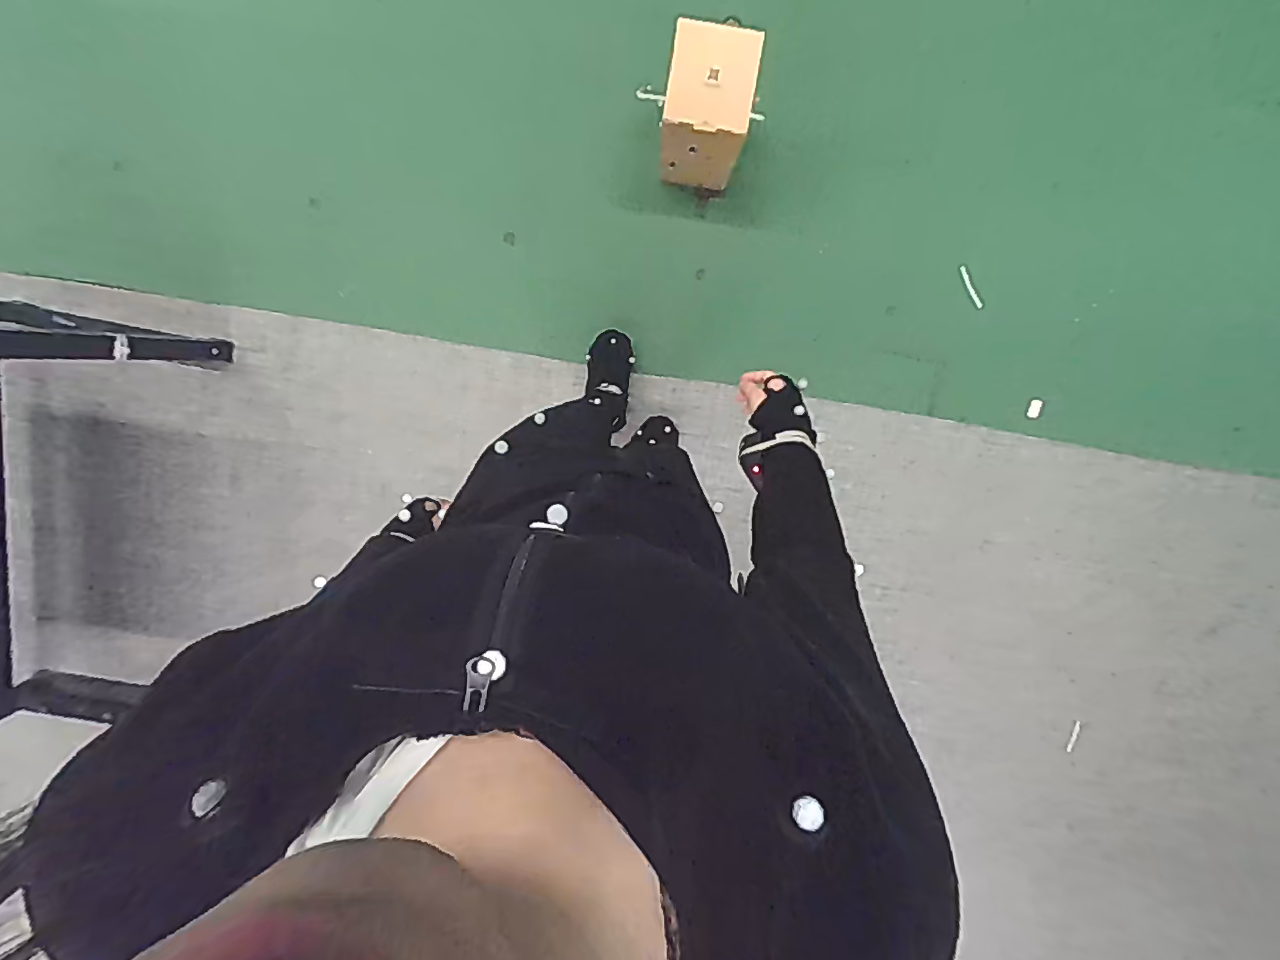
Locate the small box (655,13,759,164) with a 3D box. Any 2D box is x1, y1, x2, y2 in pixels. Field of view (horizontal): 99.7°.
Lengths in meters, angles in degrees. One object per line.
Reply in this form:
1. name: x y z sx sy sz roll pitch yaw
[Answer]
1. small box: 0.124 -0.771 1.083 0.168 0.176 0.179 8 101 -3
